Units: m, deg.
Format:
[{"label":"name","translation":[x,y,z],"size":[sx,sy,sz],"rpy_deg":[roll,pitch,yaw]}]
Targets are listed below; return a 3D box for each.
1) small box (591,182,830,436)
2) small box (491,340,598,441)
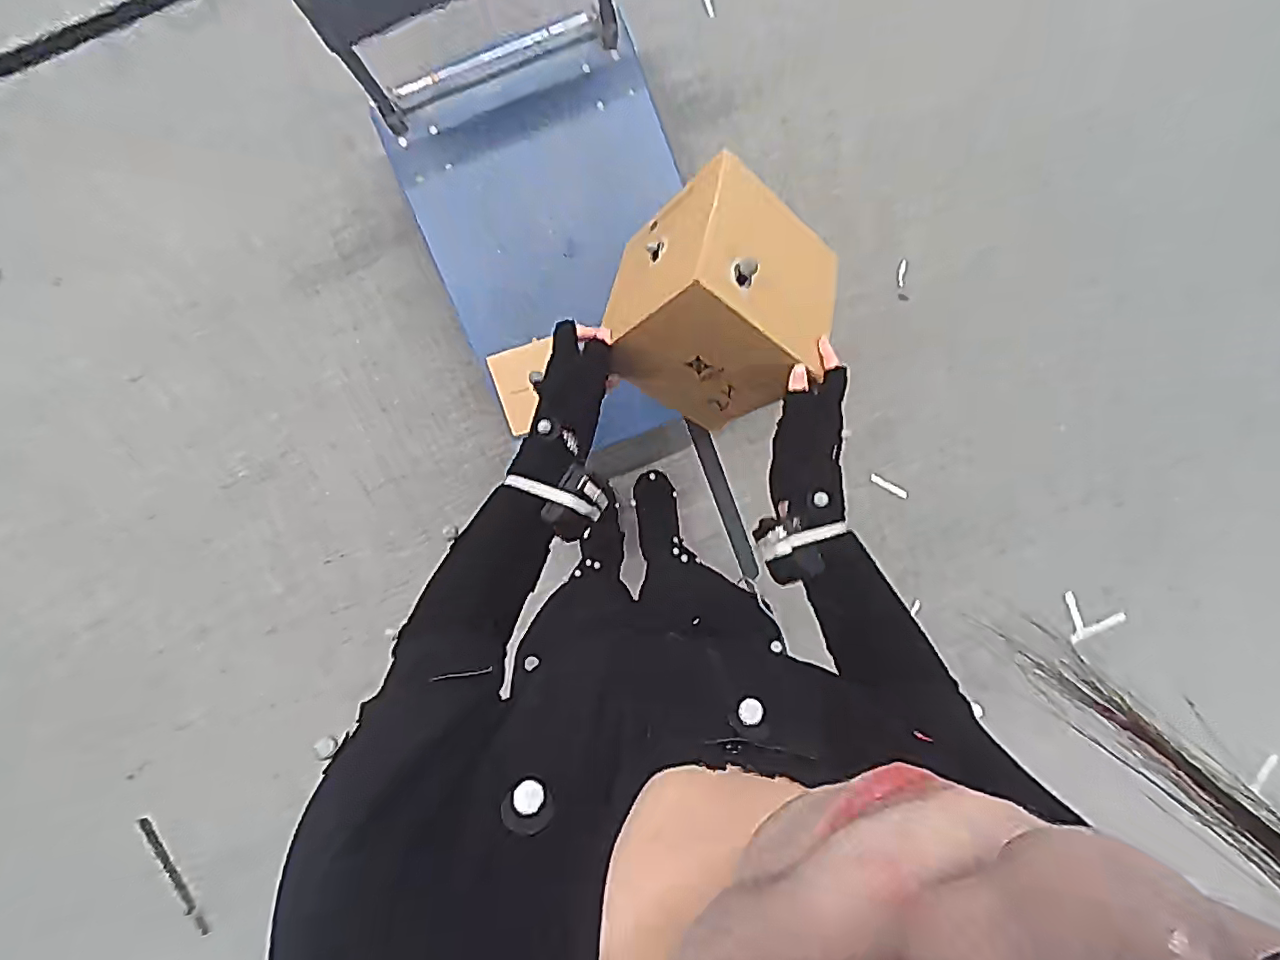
[{"label":"small box","translation":[0.079,-0.175,0.574],"size":[0.179,0.168,0.176],"rpy_deg":[26,65,-29]},{"label":"small box","translation":[-0.197,-0.191,1.162],"size":[0.179,0.176,0.168],"rpy_deg":[-18,98,0]}]
